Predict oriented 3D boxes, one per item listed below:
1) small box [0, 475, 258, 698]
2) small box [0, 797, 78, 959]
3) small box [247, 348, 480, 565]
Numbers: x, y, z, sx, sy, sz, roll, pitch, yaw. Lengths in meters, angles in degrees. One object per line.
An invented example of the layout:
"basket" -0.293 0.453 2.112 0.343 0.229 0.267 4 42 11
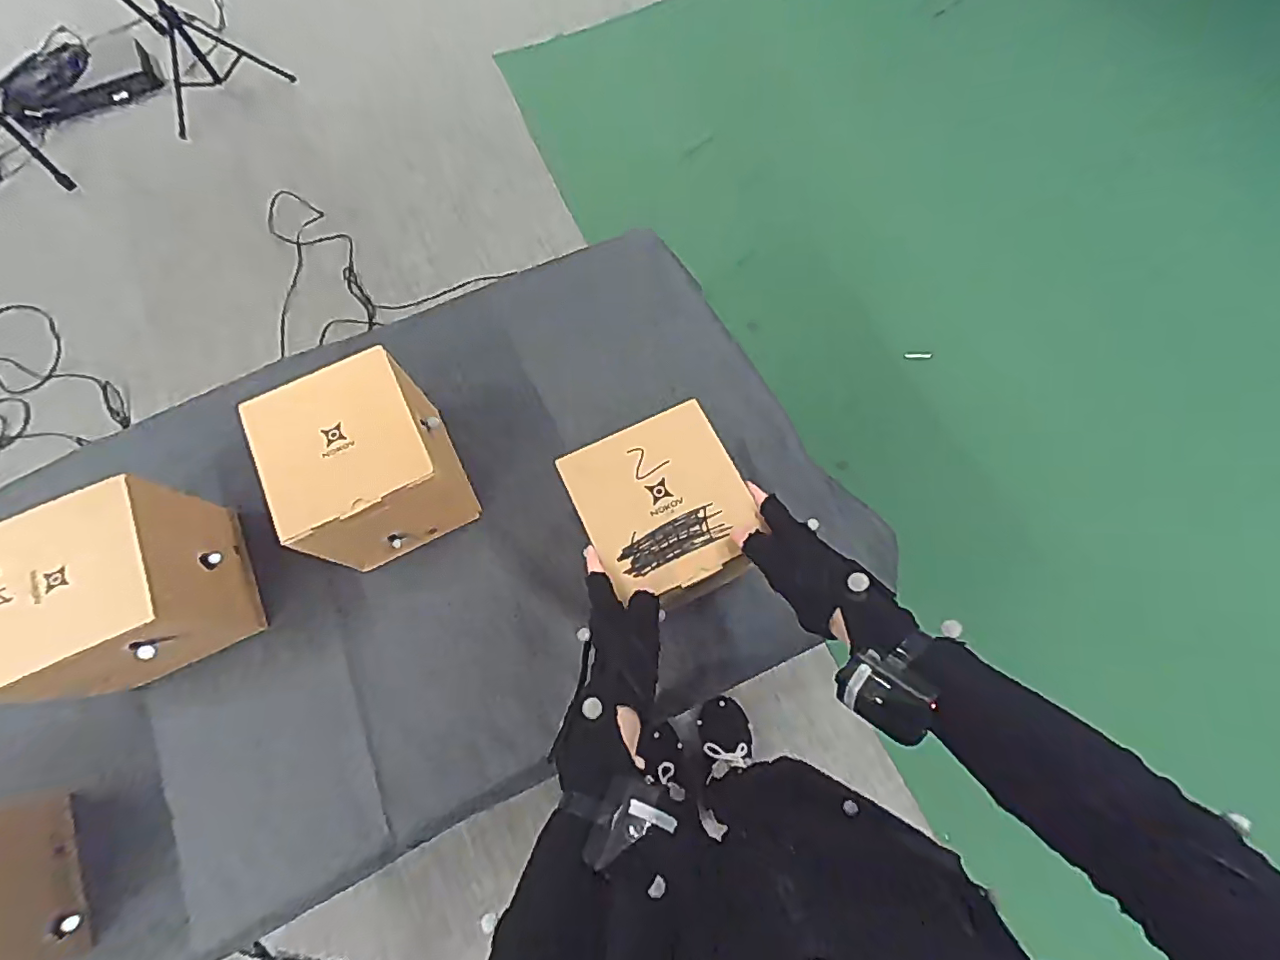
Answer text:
"small box" -0.566 0.120 0.601 0.179 0.176 0.168 -24 74 -8
"small box" -0.683 0.428 0.500 0.179 0.176 0.168 -26 73 -8
"small box" -0.317 -0.018 0.649 0.168 0.176 0.179 -26 74 -8
